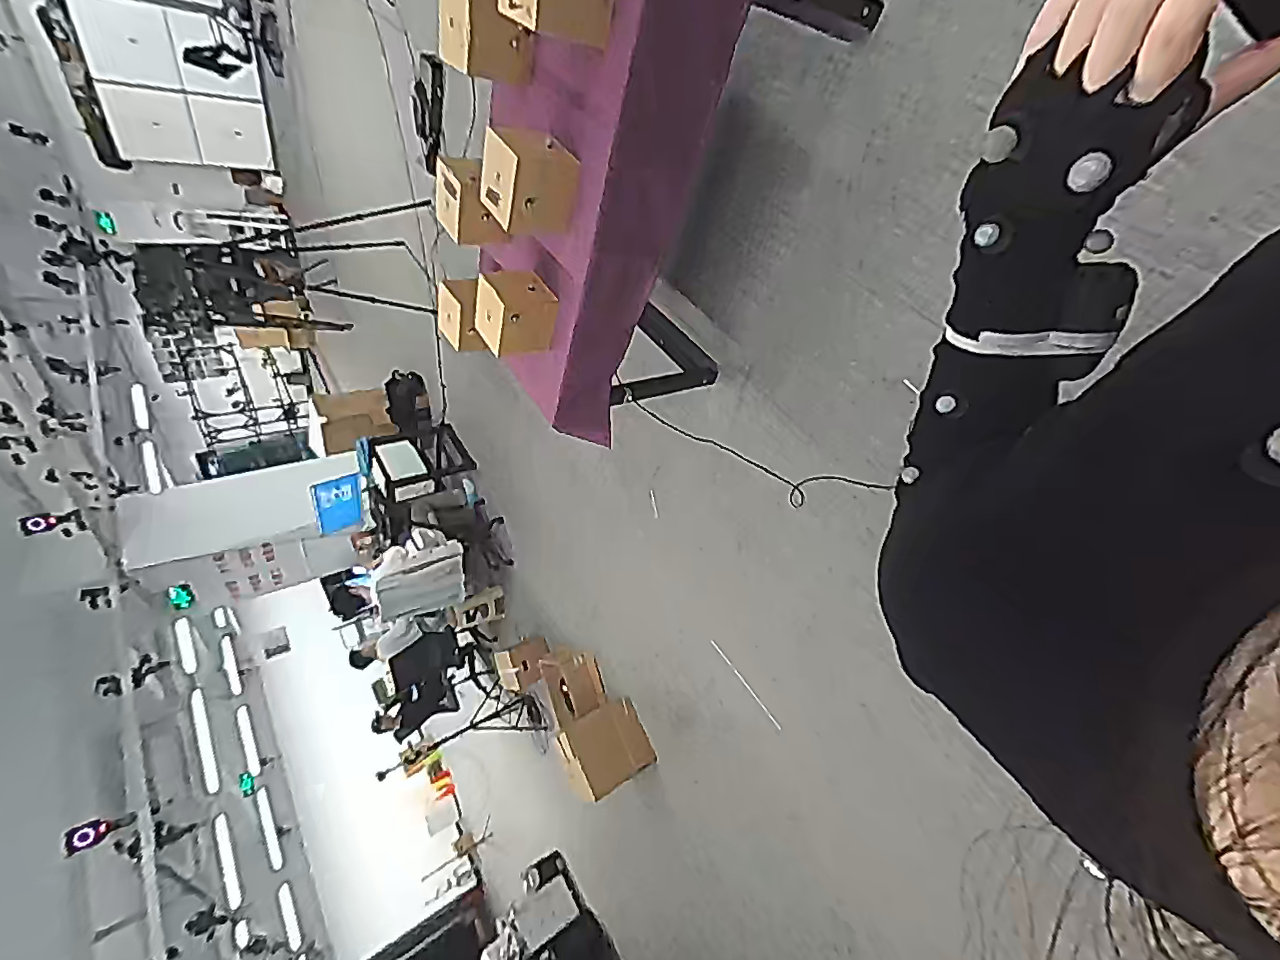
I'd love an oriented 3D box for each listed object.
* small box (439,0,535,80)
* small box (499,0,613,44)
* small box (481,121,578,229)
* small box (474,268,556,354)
[{"bbox_3d":[-0.367,-1.088,1.295,0.179,0.176,0.168,49,140,29],"label":"small box"},{"bbox_3d":[-0.153,-0.986,1.044,0.168,0.176,0.179,51,140,29],"label":"small box"},{"bbox_3d":[-0.271,-0.736,1.319,0.168,0.176,0.179,53,140,25],"label":"small box"},{"bbox_3d":[-0.359,-0.486,1.553,0.168,0.176,0.179,52,140,27],"label":"small box"}]
